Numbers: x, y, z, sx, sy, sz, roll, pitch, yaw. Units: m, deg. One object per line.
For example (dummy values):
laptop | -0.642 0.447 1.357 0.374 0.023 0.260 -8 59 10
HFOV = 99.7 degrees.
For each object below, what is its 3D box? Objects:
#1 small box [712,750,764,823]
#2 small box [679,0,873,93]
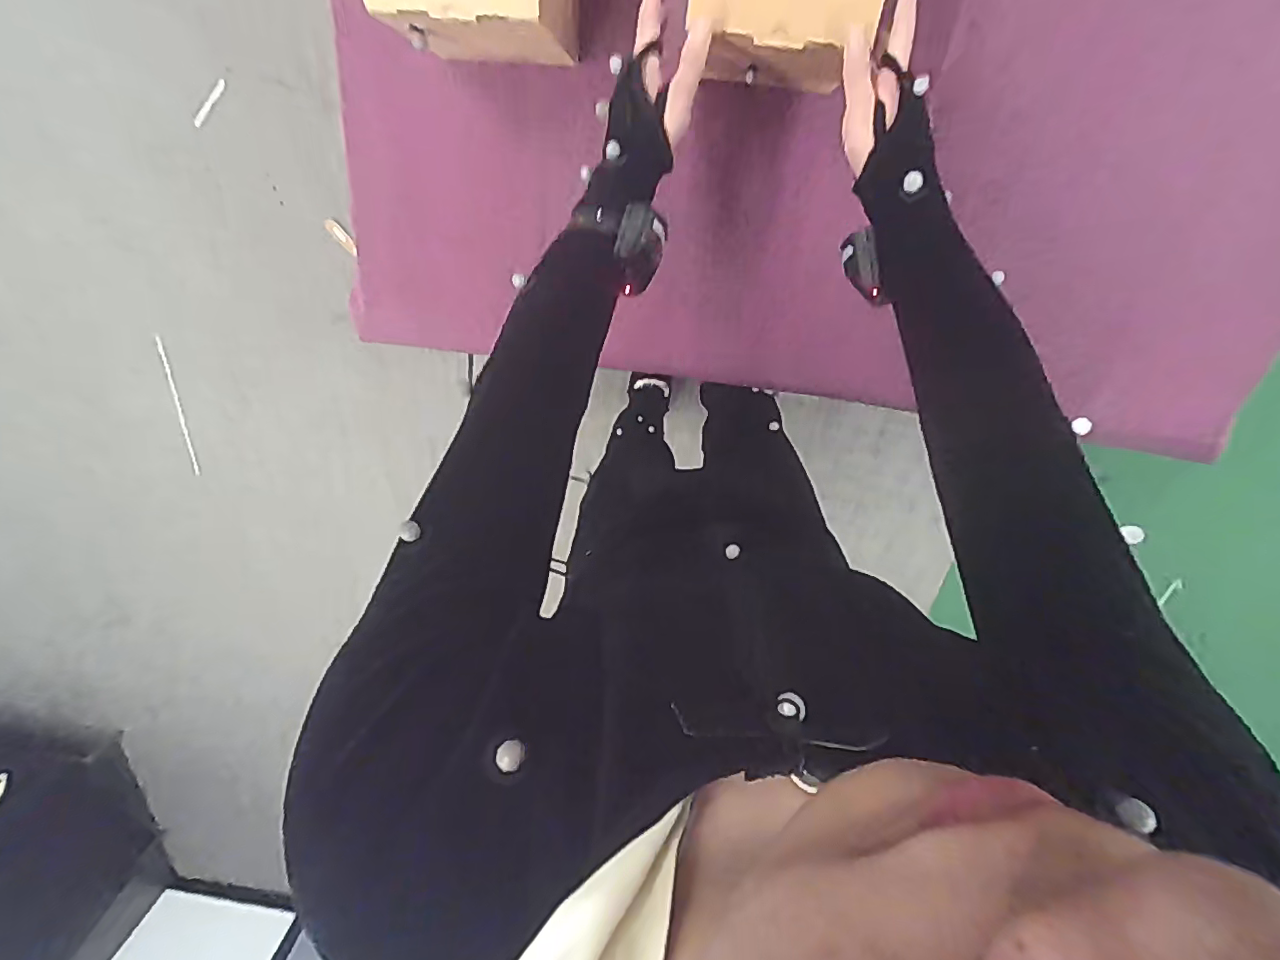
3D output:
small box | 0.385 1.208 2.136 0.168 0.176 0.179 10 118 2
small box | 0.133 -0.497 0.516 0.168 0.176 0.179 9 118 4
